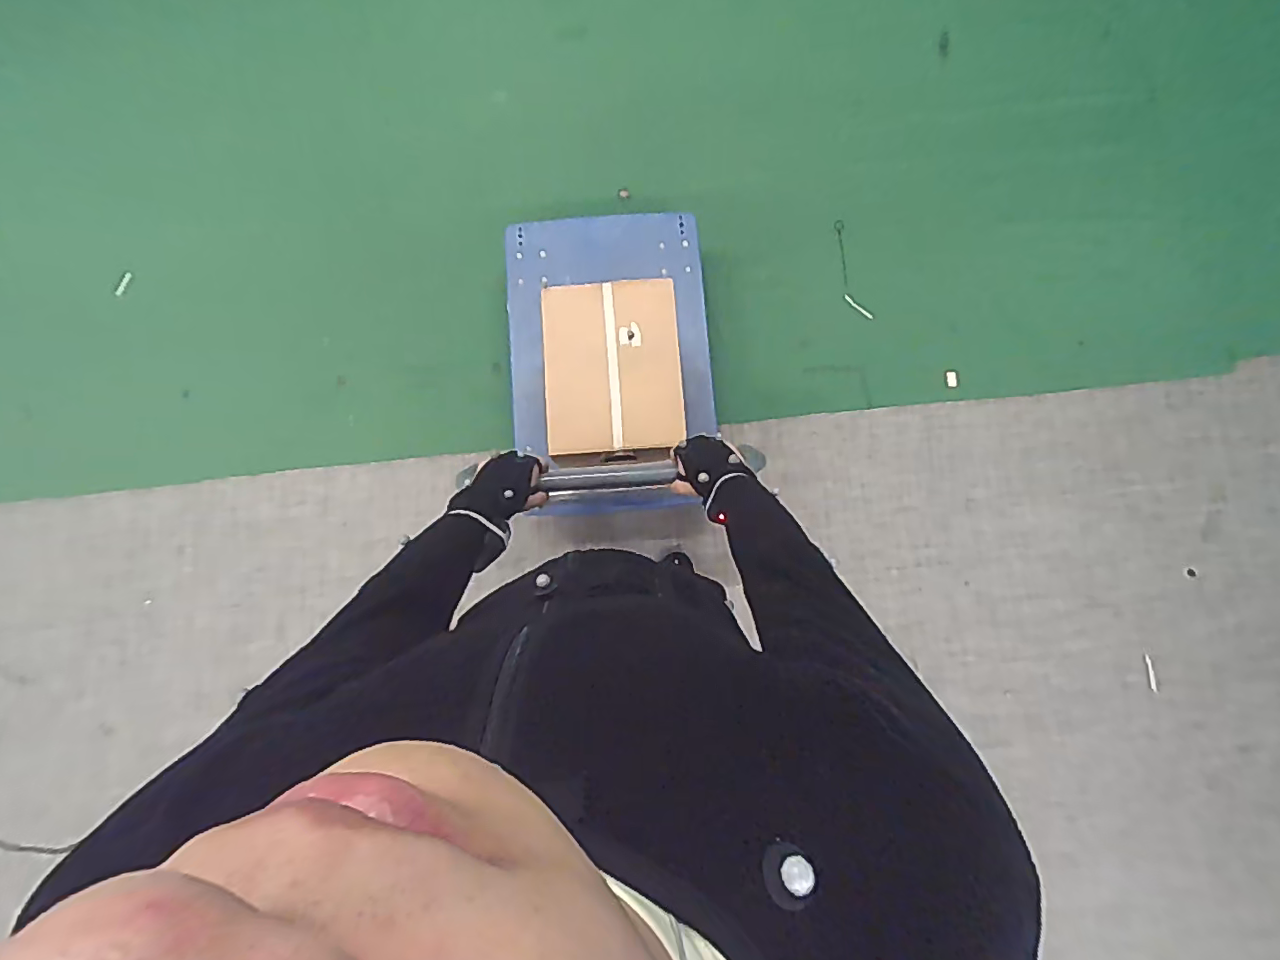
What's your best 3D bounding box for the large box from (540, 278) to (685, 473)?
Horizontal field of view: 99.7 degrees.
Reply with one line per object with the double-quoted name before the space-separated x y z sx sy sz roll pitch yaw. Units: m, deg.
"large box" -0.064 -0.246 1.392 0.320 0.320 0.408 -4 82 -1
